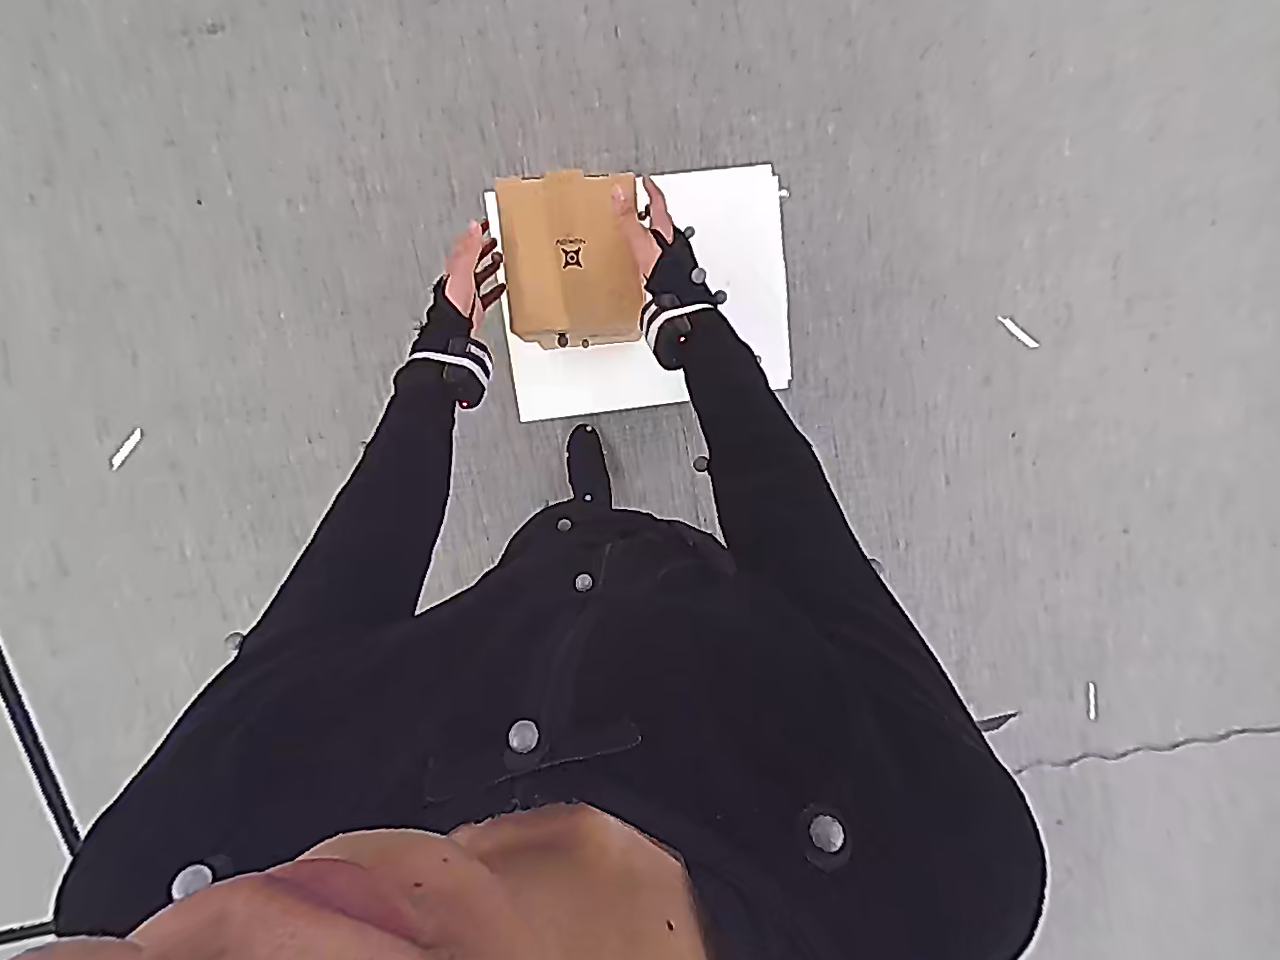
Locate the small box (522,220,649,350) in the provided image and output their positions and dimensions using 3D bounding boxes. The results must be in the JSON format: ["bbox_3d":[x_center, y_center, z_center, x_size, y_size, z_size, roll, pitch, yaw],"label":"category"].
[{"bbox_3d":[-0.087,-0.309,0.884,0.179,0.176,0.168,-7,100,-5],"label":"small box"}]
